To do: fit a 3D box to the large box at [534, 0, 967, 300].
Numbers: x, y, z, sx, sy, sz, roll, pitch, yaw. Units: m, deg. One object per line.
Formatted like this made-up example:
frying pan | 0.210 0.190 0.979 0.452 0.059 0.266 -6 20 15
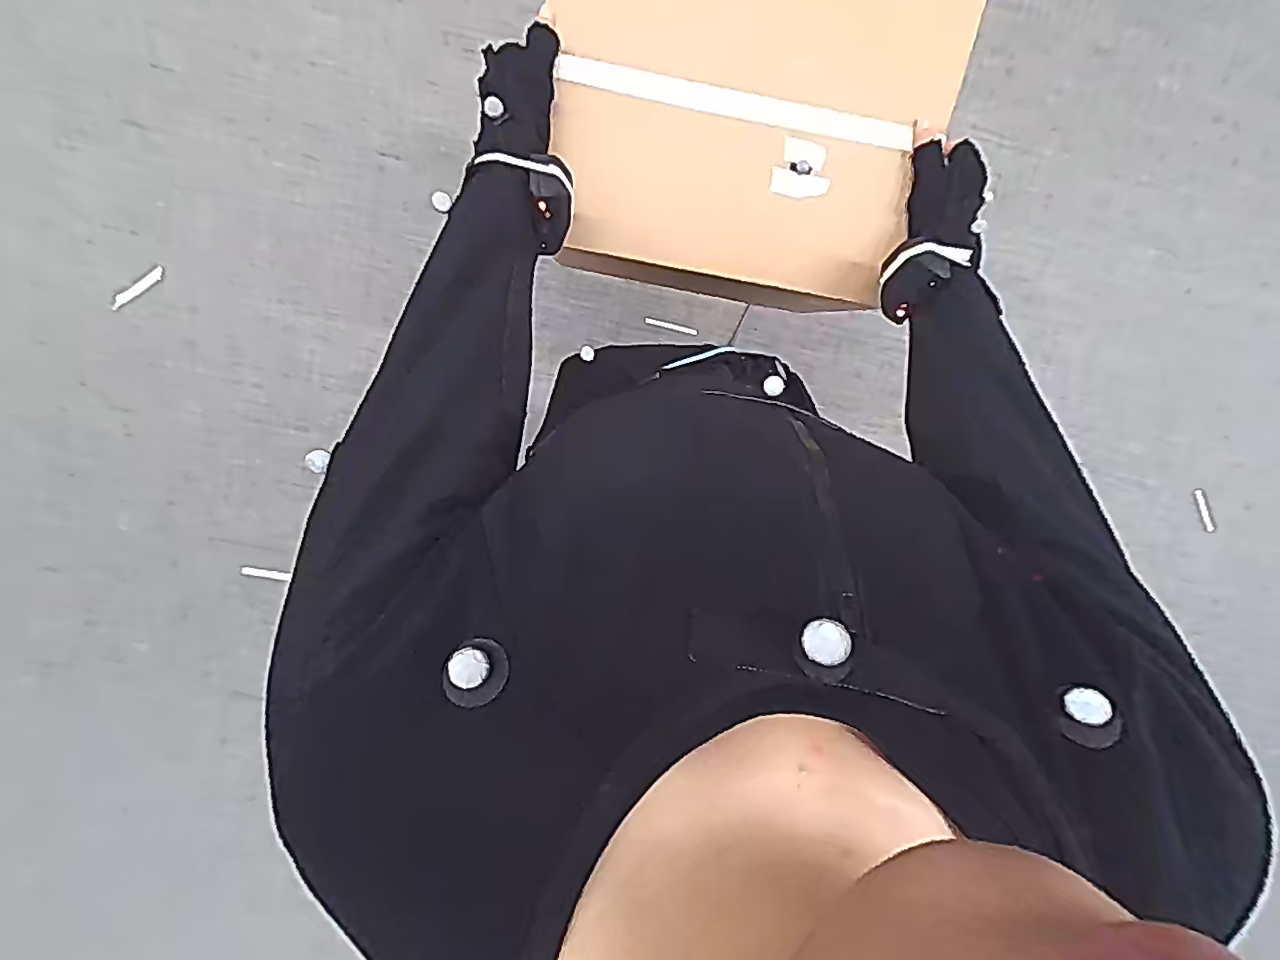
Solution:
large box | 0.097 -0.422 0.687 0.408 0.320 0.320 9 108 -5
